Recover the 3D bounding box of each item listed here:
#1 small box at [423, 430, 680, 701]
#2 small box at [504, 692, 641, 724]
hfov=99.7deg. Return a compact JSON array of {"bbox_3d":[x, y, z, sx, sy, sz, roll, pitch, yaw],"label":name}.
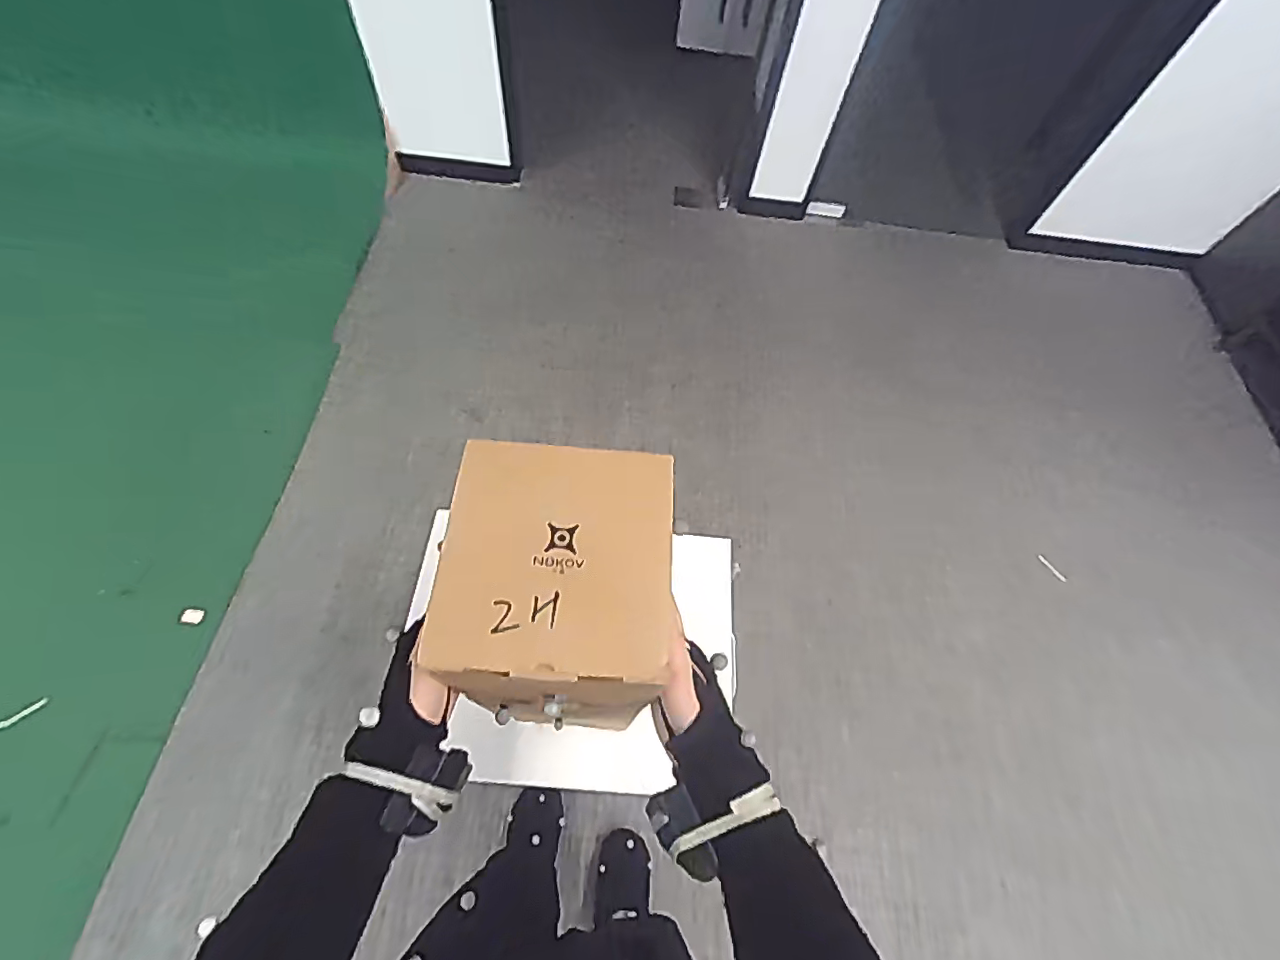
[{"bbox_3d":[-0.061,0.081,0.459,0.168,0.176,0.179,5,62,-2],"label":"small box"},{"bbox_3d":[-0.082,0.231,0.750,0.168,0.176,0.179,6,62,-2],"label":"small box"}]
